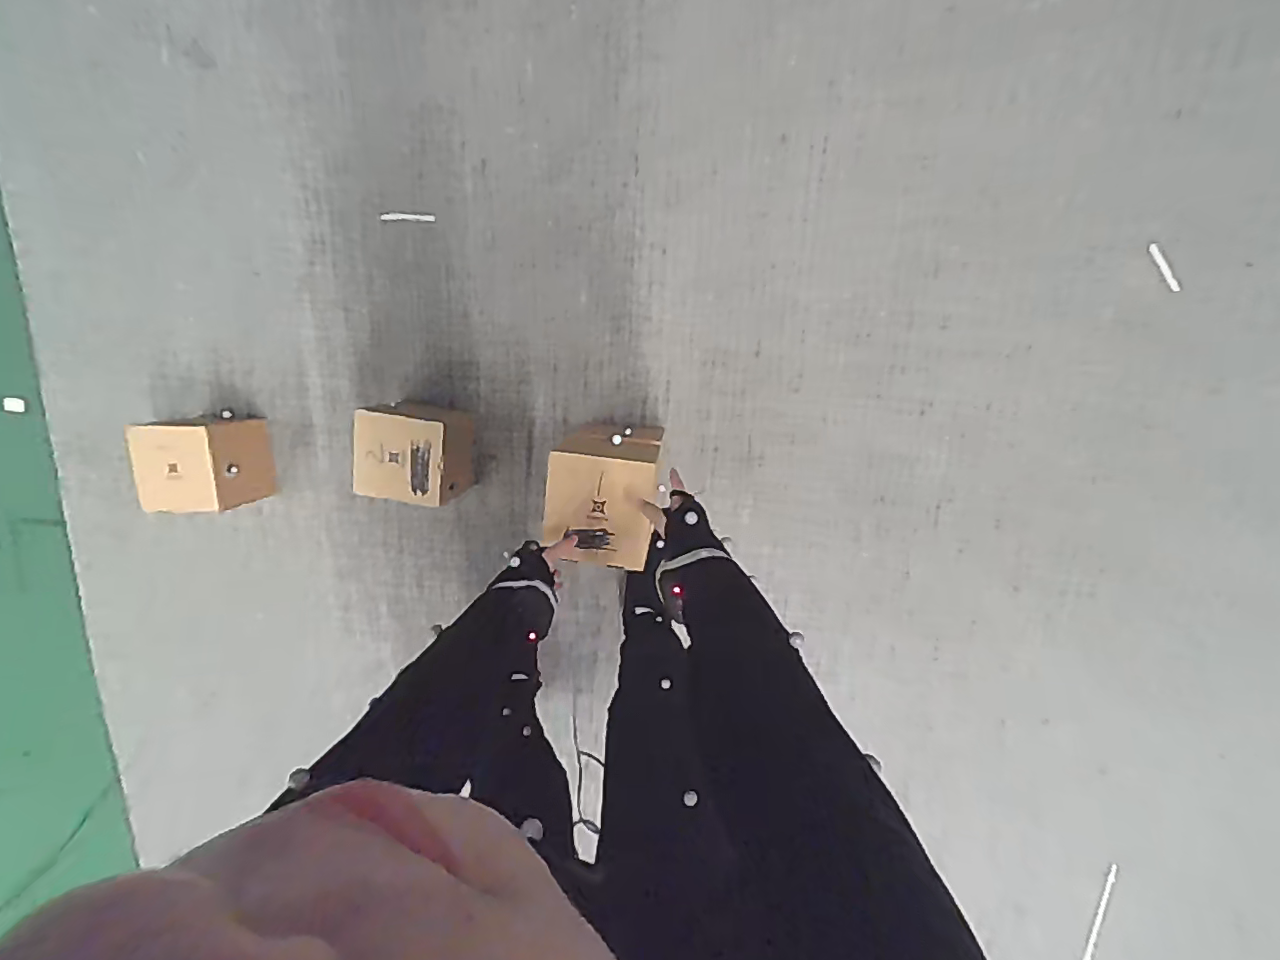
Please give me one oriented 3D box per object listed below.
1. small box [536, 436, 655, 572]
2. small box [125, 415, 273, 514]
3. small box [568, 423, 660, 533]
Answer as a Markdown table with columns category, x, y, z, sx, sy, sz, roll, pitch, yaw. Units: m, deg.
| category | x | y | z | sx | sy | sz | roll | pitch | yaw |
| --- | --- | --- | --- | --- | --- | --- | --- | --- | --- |
| small box | -0.066 | 0.032 | 0.906 | 0.168 | 0.176 | 0.179 | 8 | 102 | 3 |
| small box | -0.905 | -0.038 | 1.130 | 0.168 | 0.176 | 0.179 | 2 | 102 | 3 |
| small box | -0.051 | -0.009 | 1.066 | 0.168 | 0.176 | 0.179 | 6 | 104 | 3 |
